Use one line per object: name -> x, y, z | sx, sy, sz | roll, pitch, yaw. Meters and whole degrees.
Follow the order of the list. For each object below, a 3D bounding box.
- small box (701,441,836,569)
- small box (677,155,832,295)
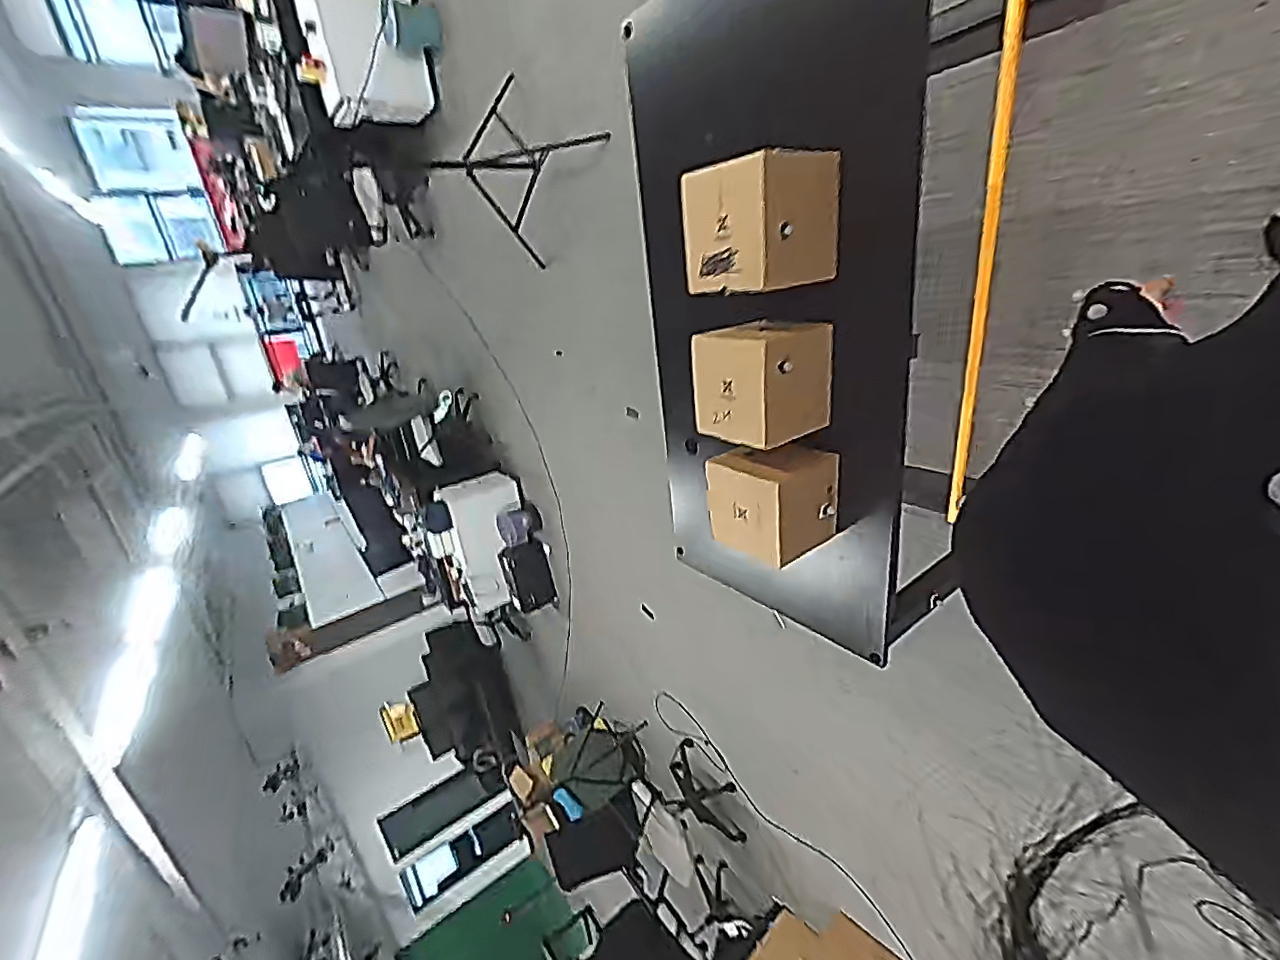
small box -> 0.238, 0.035, 1.005 | 0.179, 0.176, 0.168 | 20, 126, 50
small box -> 0.178, -0.391, 0.839 | 0.168, 0.176, 0.179 | 23, 126, 50
